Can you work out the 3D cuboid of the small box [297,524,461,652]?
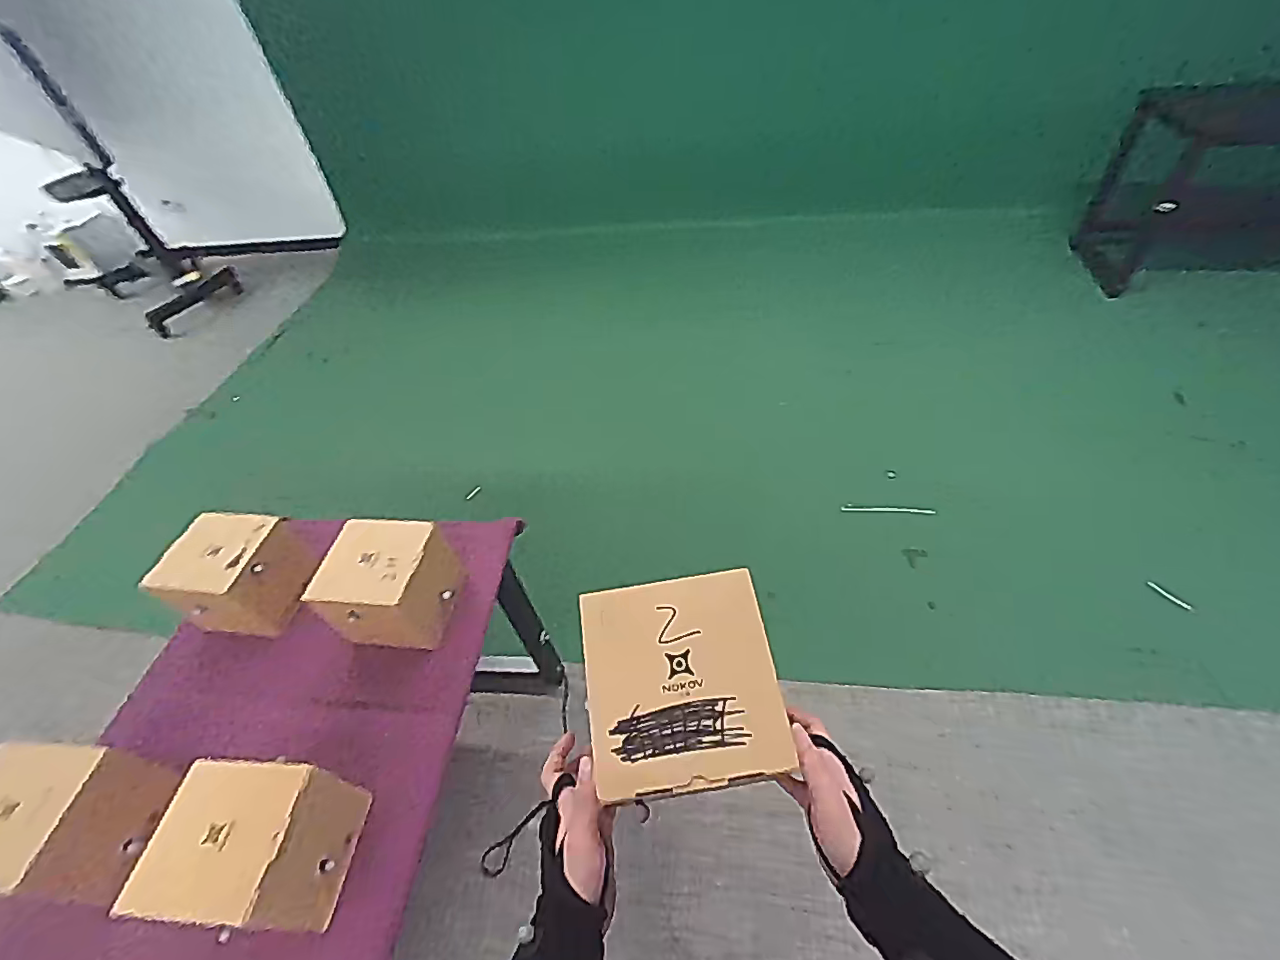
[{"bbox_3d":[-0.455,0.196,0.975,0.179,0.176,0.168,1,49,10],"label":"small box"}]

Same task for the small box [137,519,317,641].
[{"bbox_3d":[-0.768,0.192,1.030,0.179,0.176,0.168,1,49,10],"label":"small box"}]

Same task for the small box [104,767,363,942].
[{"bbox_3d":[-0.512,0.495,0.714,0.179,0.176,0.168,-2,47,7],"label":"small box"}]

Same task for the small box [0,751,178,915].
[{"bbox_3d":[-0.826,0.497,0.760,0.179,0.176,0.168,0,48,7],"label":"small box"}]
